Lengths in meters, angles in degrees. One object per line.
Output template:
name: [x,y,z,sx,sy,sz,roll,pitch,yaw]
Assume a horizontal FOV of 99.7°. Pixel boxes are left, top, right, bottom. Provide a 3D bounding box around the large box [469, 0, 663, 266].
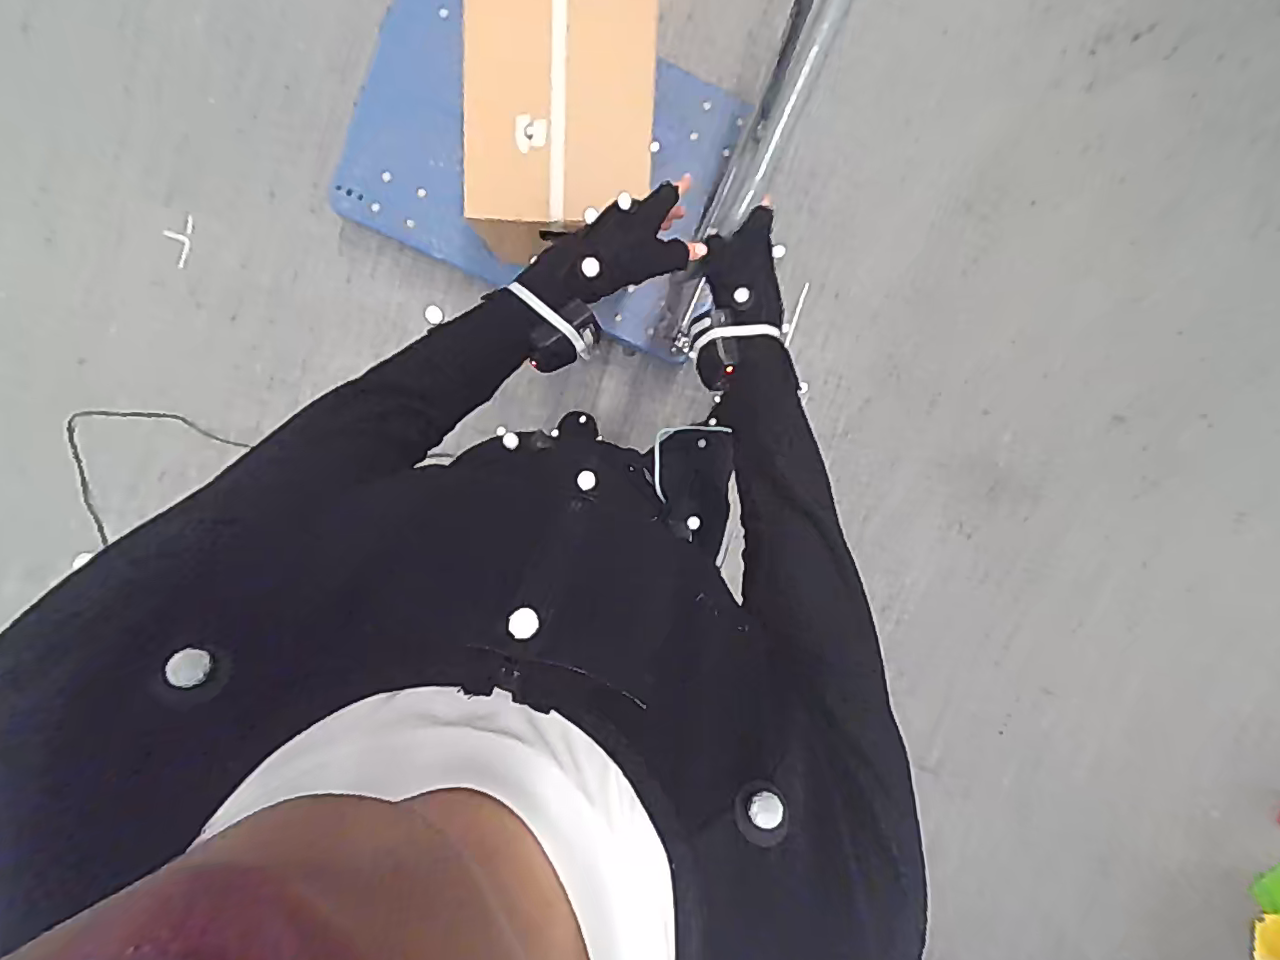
large box: [-0.132,-0.661,1.033,0.320,0.320,0.408,3,99,-3]
